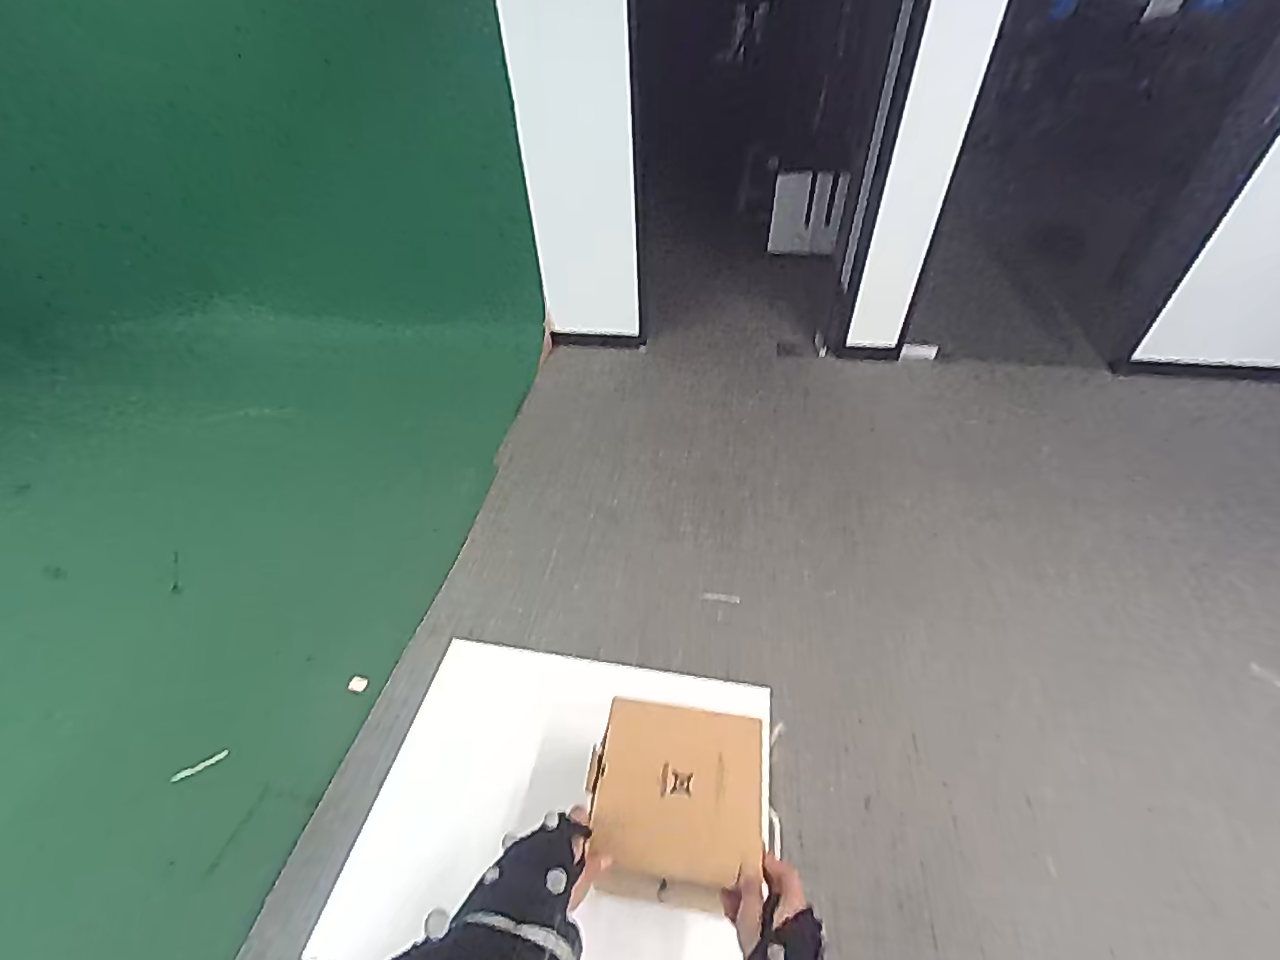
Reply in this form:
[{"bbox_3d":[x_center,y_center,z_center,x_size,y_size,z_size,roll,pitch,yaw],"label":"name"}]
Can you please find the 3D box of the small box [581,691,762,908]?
[{"bbox_3d":[0.044,0.368,0.623,0.179,0.176,0.168,5,45,8],"label":"small box"}]
